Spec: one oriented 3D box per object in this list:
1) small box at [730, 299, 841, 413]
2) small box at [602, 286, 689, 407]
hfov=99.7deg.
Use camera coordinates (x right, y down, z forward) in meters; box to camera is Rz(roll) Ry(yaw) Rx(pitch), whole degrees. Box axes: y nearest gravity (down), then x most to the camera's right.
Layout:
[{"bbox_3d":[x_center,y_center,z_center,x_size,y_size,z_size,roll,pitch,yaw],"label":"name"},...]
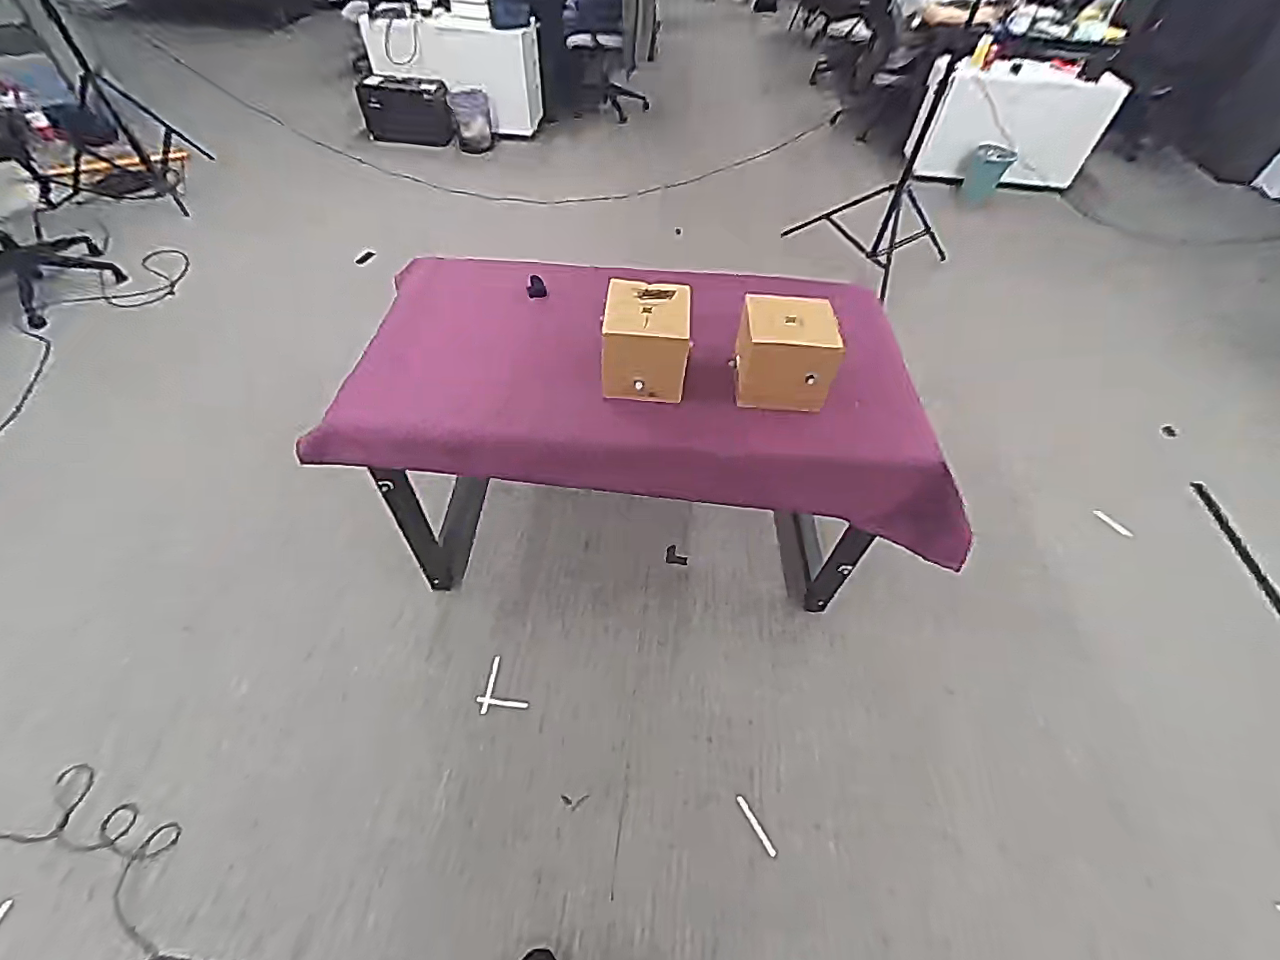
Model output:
[{"bbox_3d":[0.292,-0.255,1.128,0.179,0.176,0.168,2,49,0],"label":"small box"},{"bbox_3d":[0.009,-0.277,1.126,0.168,0.176,0.179,4,51,0],"label":"small box"}]
